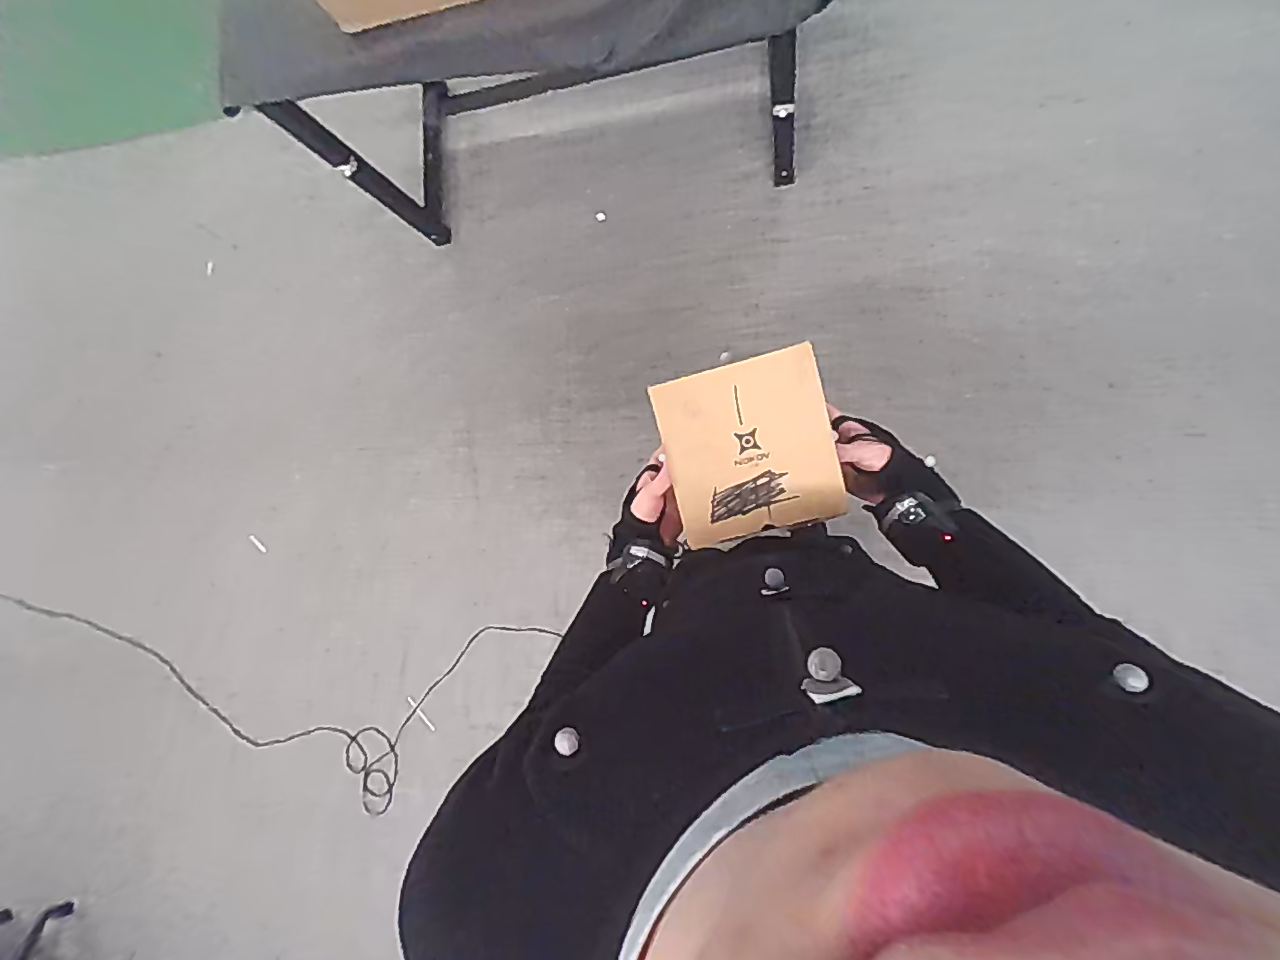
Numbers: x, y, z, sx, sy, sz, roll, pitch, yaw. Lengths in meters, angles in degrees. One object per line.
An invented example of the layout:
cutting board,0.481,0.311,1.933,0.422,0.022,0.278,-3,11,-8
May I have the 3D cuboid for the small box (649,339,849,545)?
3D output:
small box,0.118,-0.047,0.616,0.168,0.176,0.179,-15,96,8
